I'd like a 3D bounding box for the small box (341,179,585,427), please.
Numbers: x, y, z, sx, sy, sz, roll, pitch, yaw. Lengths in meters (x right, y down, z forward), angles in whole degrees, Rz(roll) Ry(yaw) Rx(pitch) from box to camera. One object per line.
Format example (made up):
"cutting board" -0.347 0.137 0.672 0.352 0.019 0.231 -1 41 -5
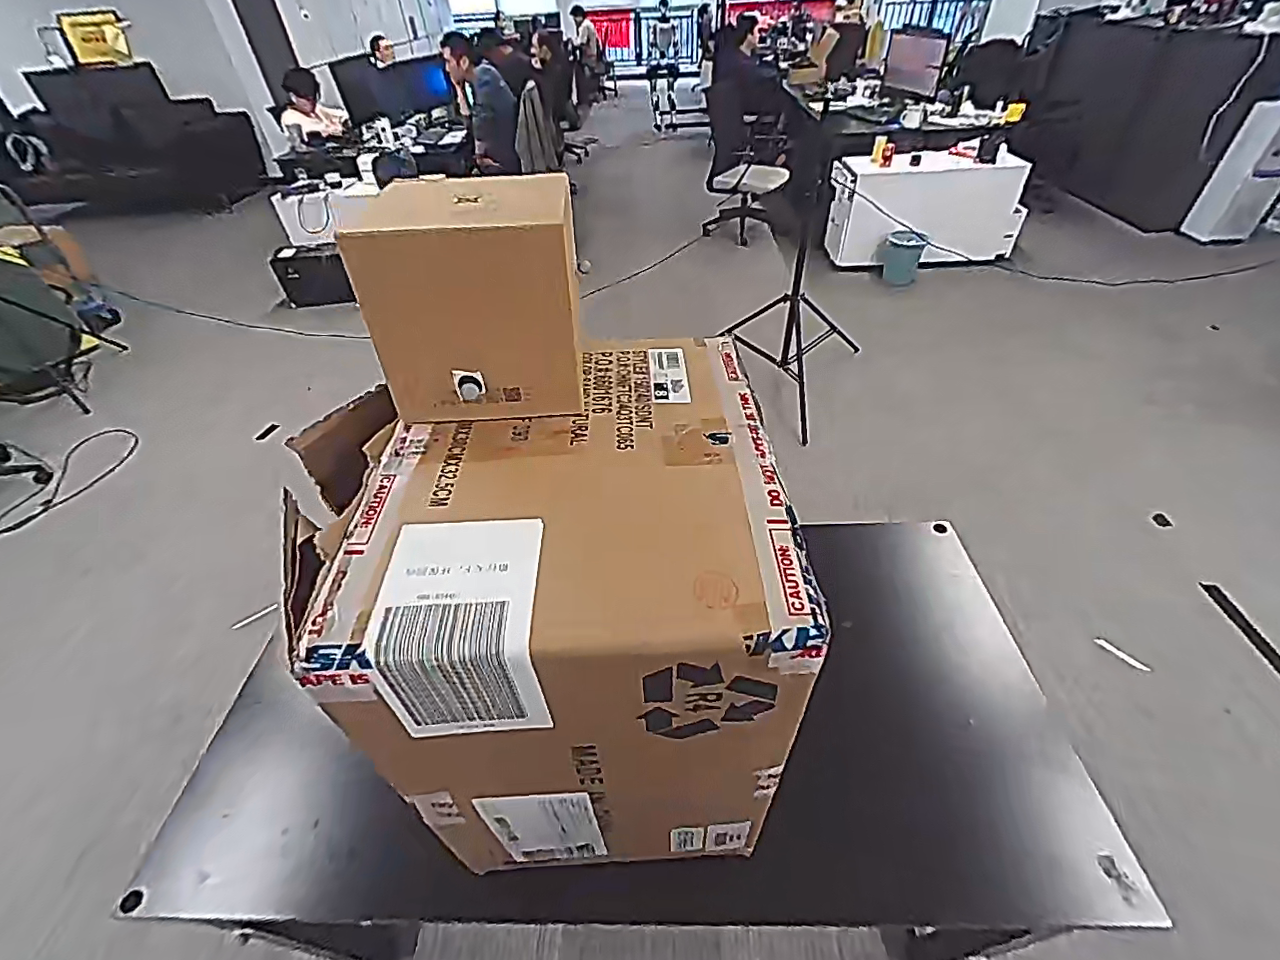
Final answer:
"small box" -0.142 -0.169 0.509 0.168 0.176 0.179 -5 41 -3
